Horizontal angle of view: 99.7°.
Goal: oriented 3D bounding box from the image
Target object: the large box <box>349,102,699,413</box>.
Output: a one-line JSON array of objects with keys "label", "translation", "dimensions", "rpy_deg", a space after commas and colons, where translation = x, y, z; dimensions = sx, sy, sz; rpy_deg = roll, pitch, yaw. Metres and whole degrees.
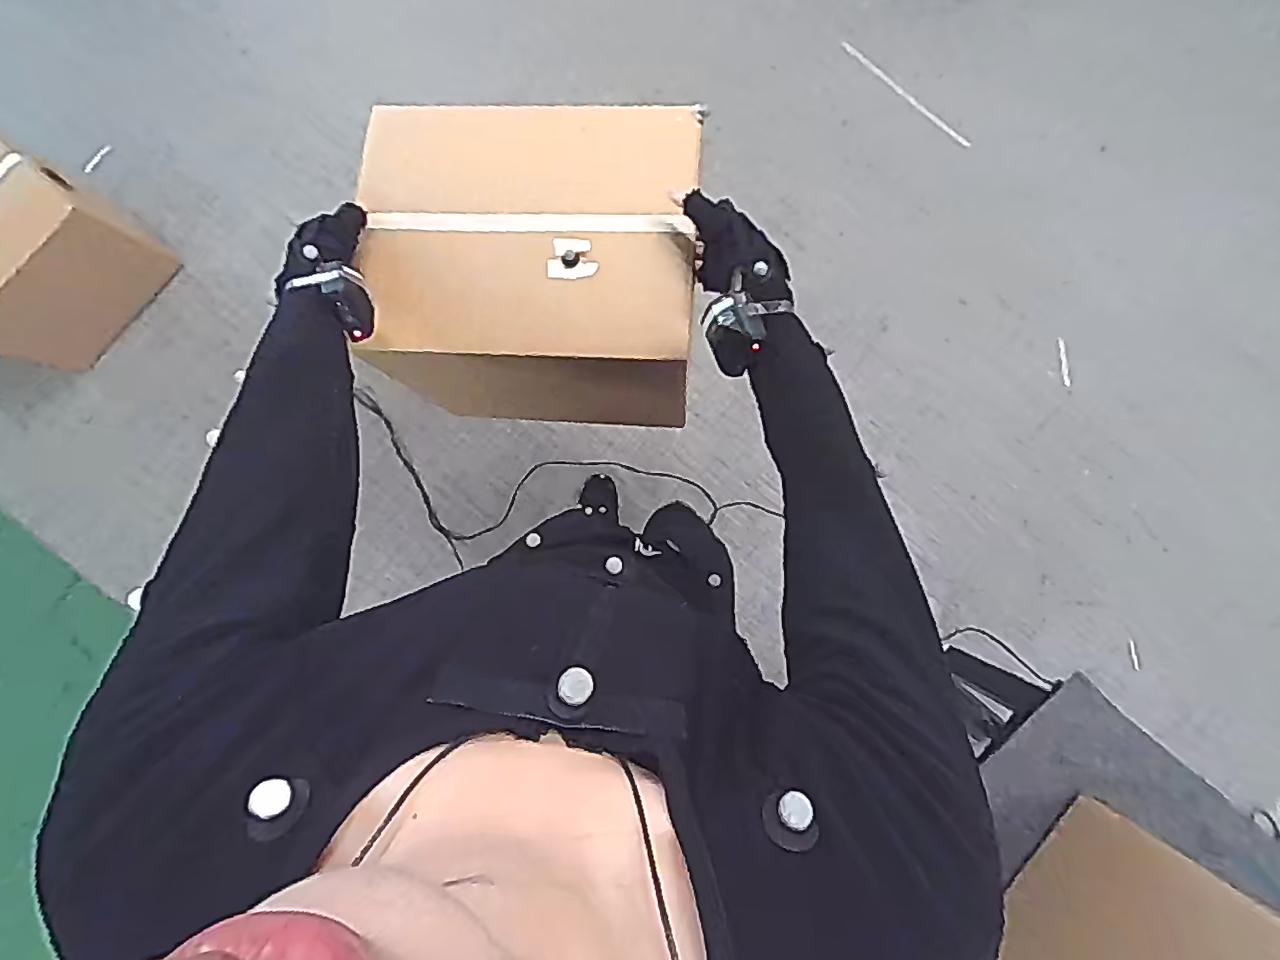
[{"label": "large box", "translation": [-0.128, -0.286, 0.781], "dimensions": [0.408, 0.320, 0.320], "rpy_deg": [3, 83, 3]}]
